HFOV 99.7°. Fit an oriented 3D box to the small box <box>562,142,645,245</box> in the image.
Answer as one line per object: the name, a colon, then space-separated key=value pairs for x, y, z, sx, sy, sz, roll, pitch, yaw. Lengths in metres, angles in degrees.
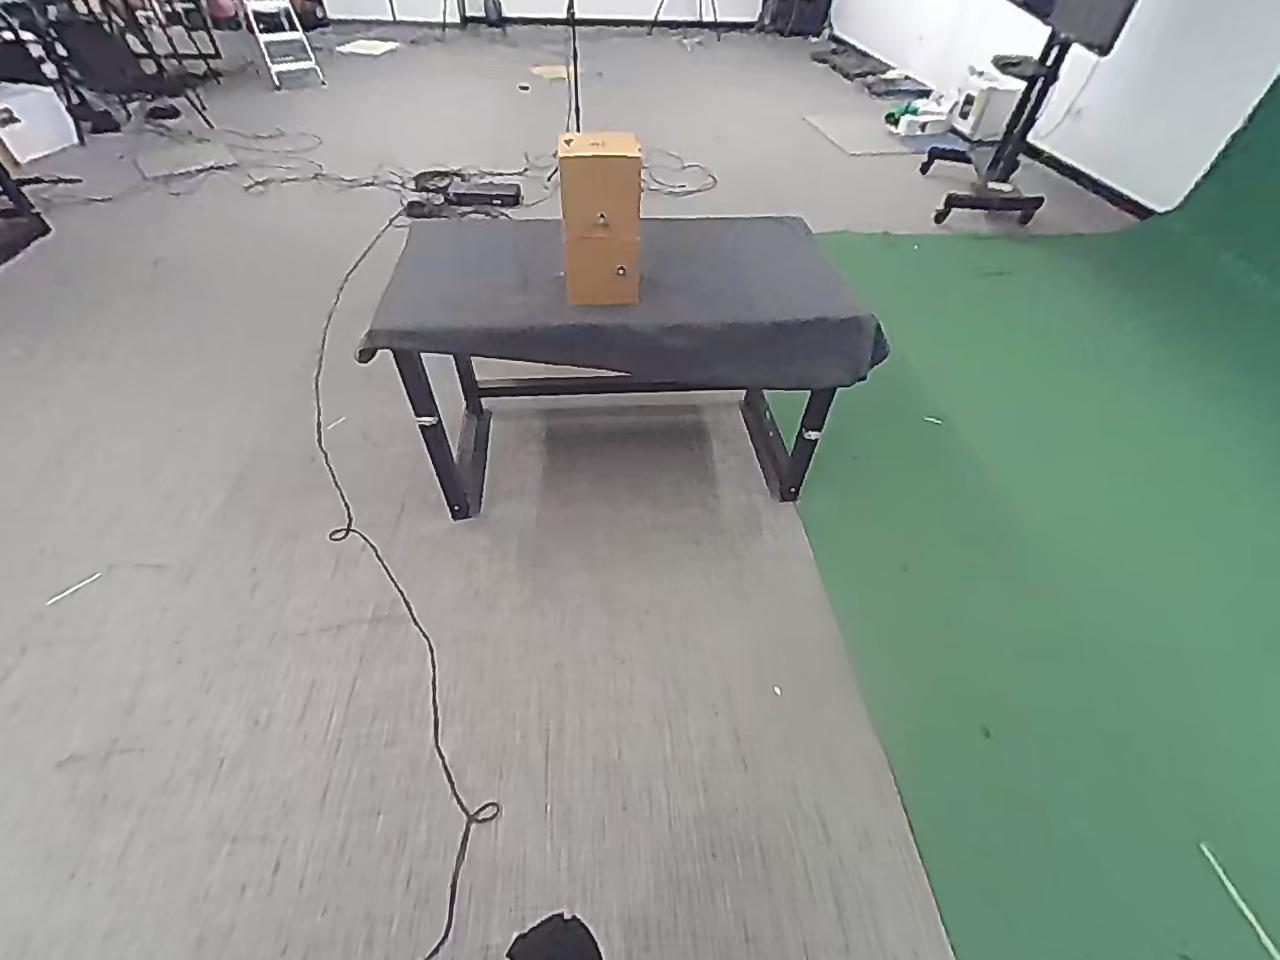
small box: x=-0.085 y=-0.652 z=1.236 sx=0.179 sy=0.176 sz=0.168 roll=-2 pitch=46 yaw=-5

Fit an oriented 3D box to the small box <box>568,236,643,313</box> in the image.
small box: x=-0.087 y=-0.532 z=1.349 sx=0.179 sy=0.176 sz=0.168 roll=-4 pitch=46 yaw=-4
